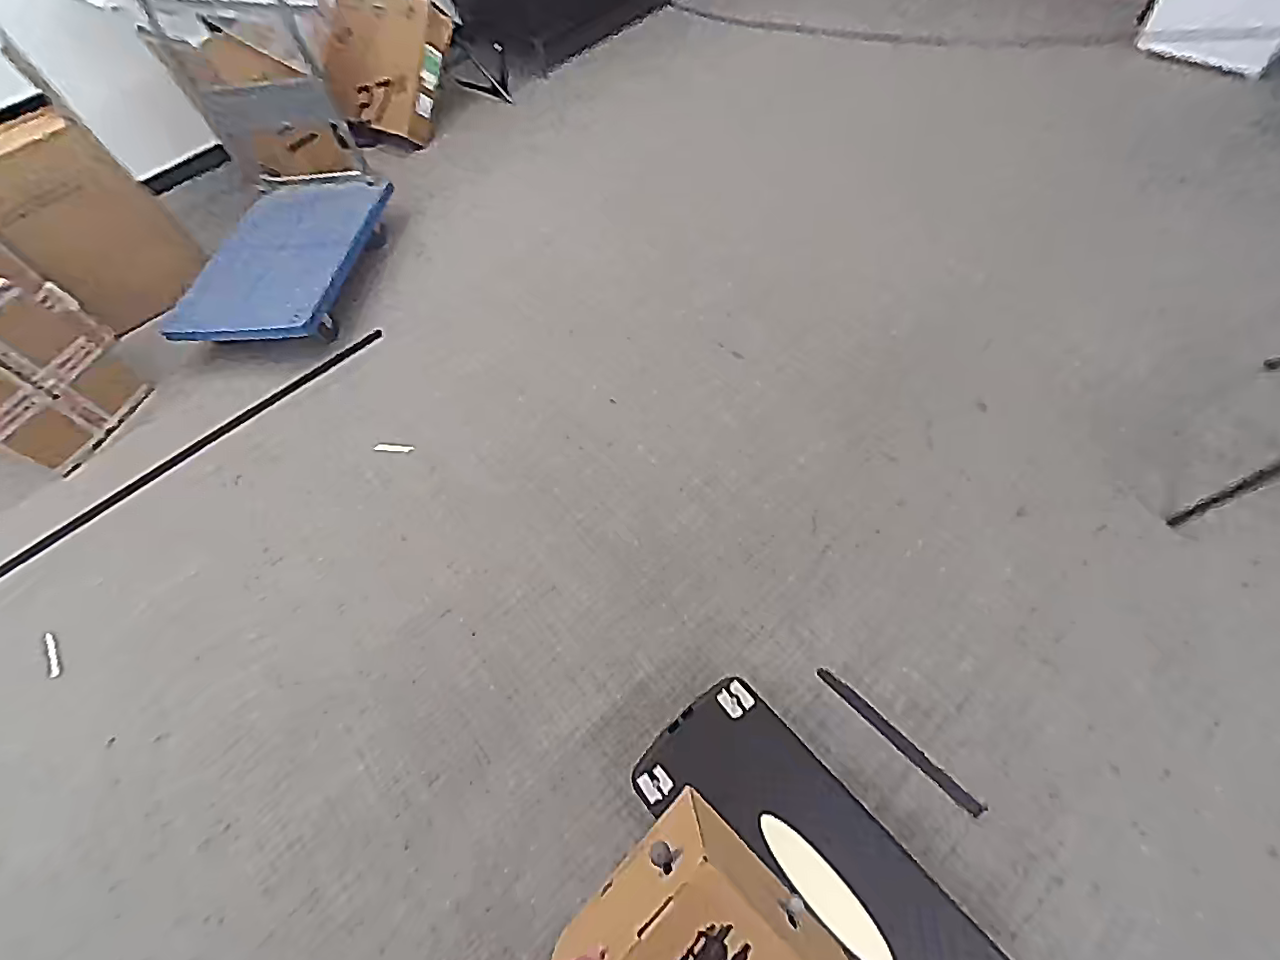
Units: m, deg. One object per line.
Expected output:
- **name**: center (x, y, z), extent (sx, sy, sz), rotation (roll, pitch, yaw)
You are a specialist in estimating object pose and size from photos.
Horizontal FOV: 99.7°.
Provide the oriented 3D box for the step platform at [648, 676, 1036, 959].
- **step platform**: center (0.322, 0.671, 0.904), extent (0.286, 0.204, 0.684), rotation (-39, 60, -16)
